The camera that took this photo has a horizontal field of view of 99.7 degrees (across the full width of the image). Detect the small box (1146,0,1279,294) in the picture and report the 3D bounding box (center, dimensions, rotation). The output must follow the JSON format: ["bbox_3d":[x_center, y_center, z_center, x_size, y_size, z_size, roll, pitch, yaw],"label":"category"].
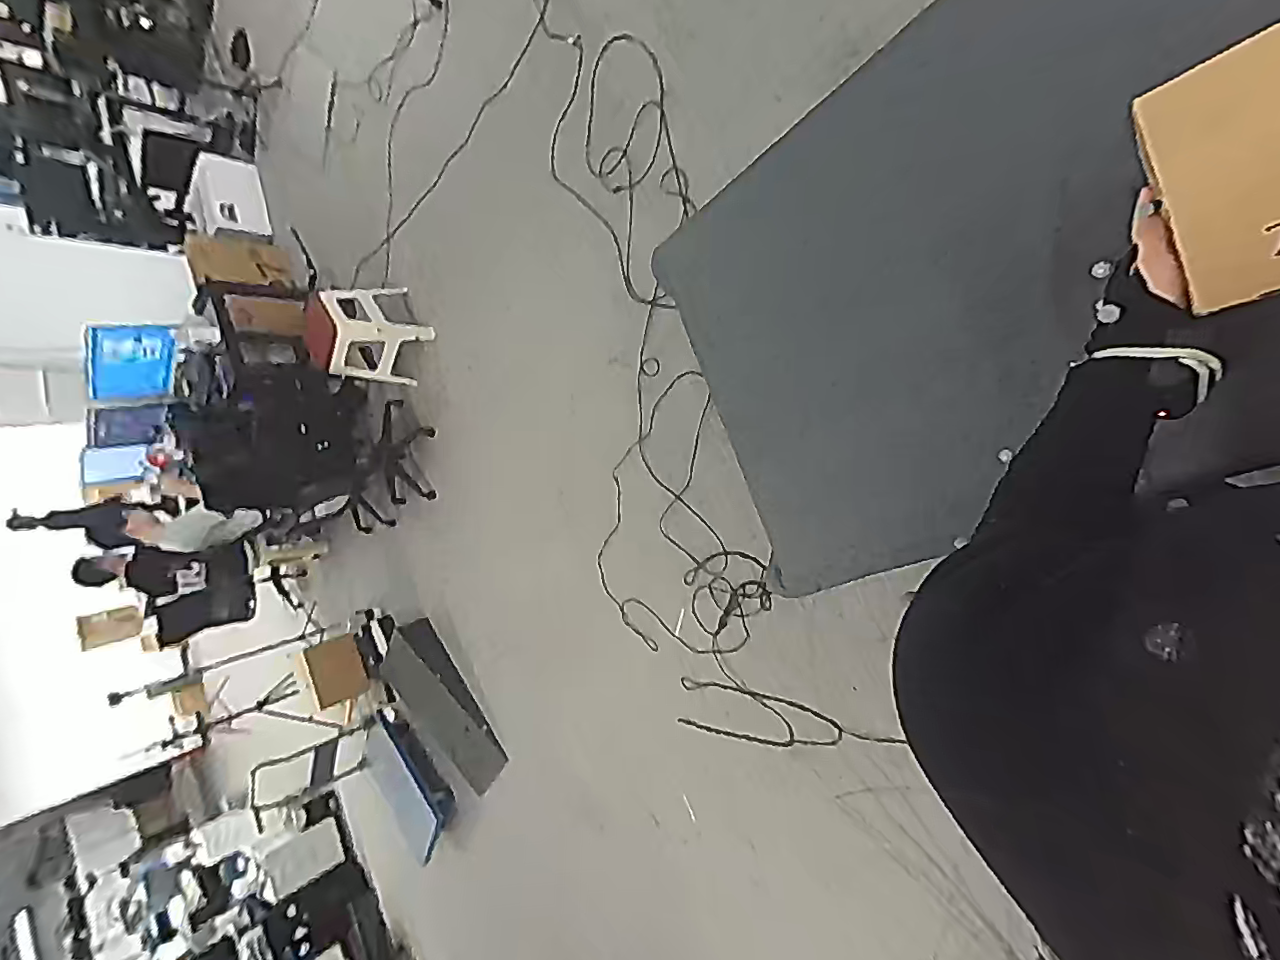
[{"bbox_3d":[0.509,-0.255,0.405,0.168,0.176,0.179,-17,91,46],"label":"small box"}]
